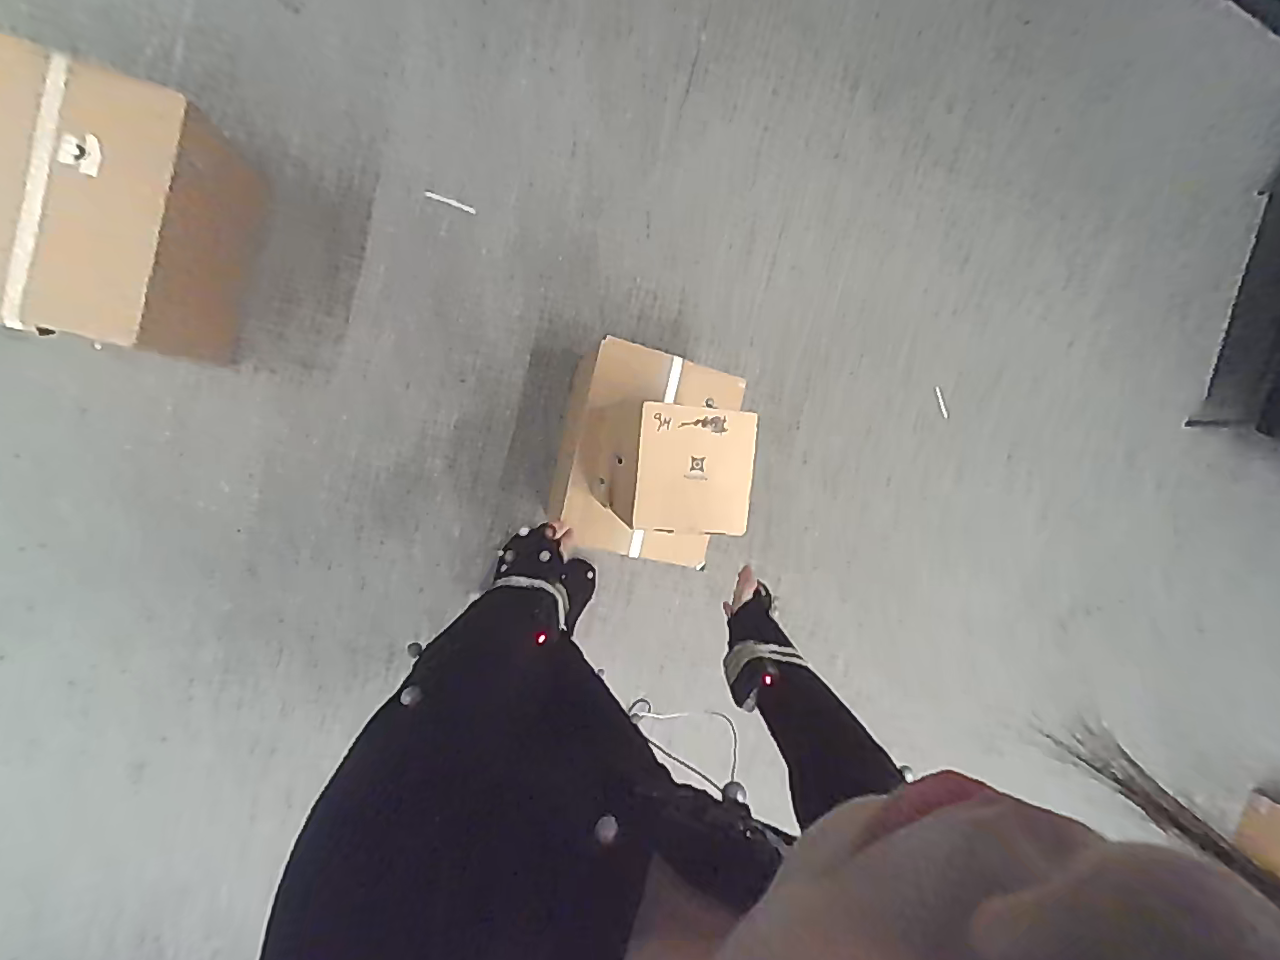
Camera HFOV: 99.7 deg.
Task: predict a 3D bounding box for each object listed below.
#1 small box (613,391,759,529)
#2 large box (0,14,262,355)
[{"bbox_3d":[0.057,-0.035,0.803,0.168,0.176,0.179,5,96,-13],"label":"small box"},{"bbox_3d":[-0.921,-0.463,0.931,0.320,0.320,0.408,13,92,-15],"label":"large box"}]
